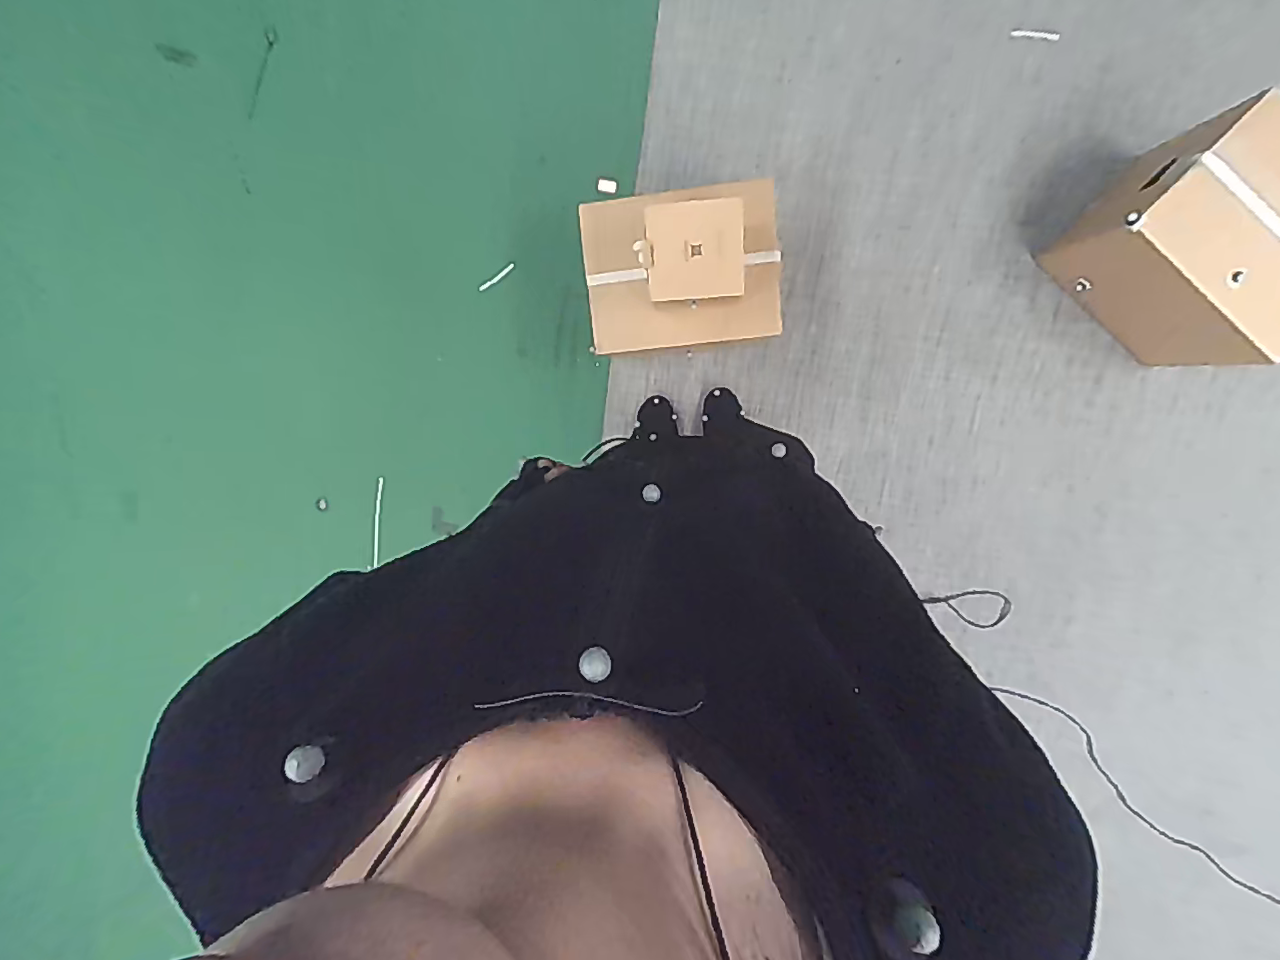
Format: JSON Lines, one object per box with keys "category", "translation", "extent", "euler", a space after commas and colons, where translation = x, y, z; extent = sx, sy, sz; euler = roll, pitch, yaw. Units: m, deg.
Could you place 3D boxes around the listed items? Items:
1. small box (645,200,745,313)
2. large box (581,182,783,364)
{"category": "small box", "translation": [0.107, -0.415, 1.032], "extent": [0.179, 0.176, 0.168], "euler": [-2, 102, 6]}
{"category": "large box", "translation": [0.107, -0.456, 1.277], "extent": [0.408, 0.320, 0.320], "euler": [-5, 99, 8]}
